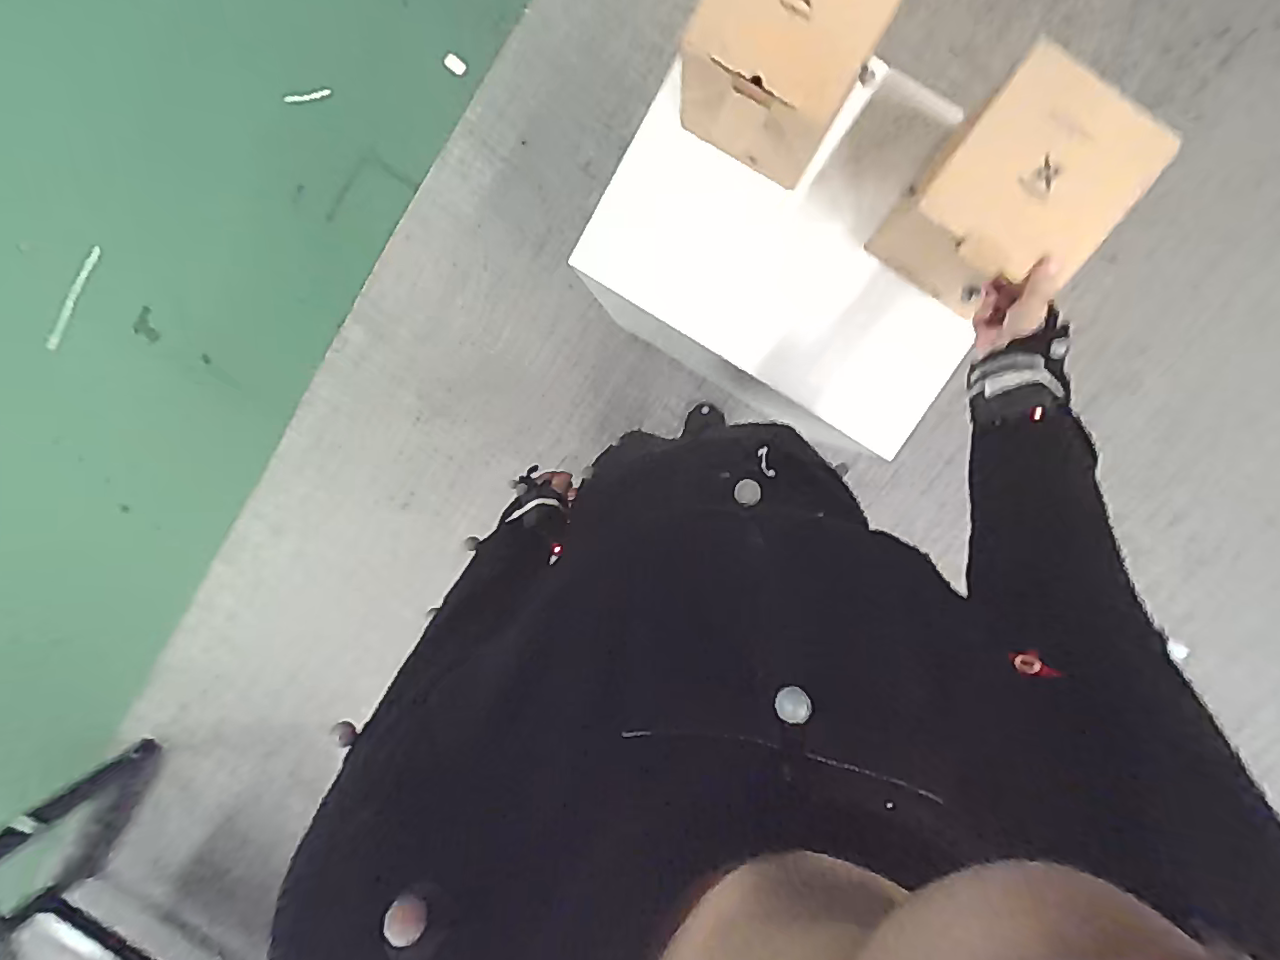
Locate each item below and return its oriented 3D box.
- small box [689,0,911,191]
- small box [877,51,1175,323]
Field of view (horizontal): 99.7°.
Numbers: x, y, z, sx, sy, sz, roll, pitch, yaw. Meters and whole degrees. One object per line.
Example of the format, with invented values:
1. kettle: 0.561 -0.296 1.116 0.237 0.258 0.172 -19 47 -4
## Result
1. small box: 0.162 -0.461 0.591 0.168 0.176 0.179 31 100 -1
2. small box: 0.389 -0.293 0.592 0.168 0.176 0.179 36 101 -1
